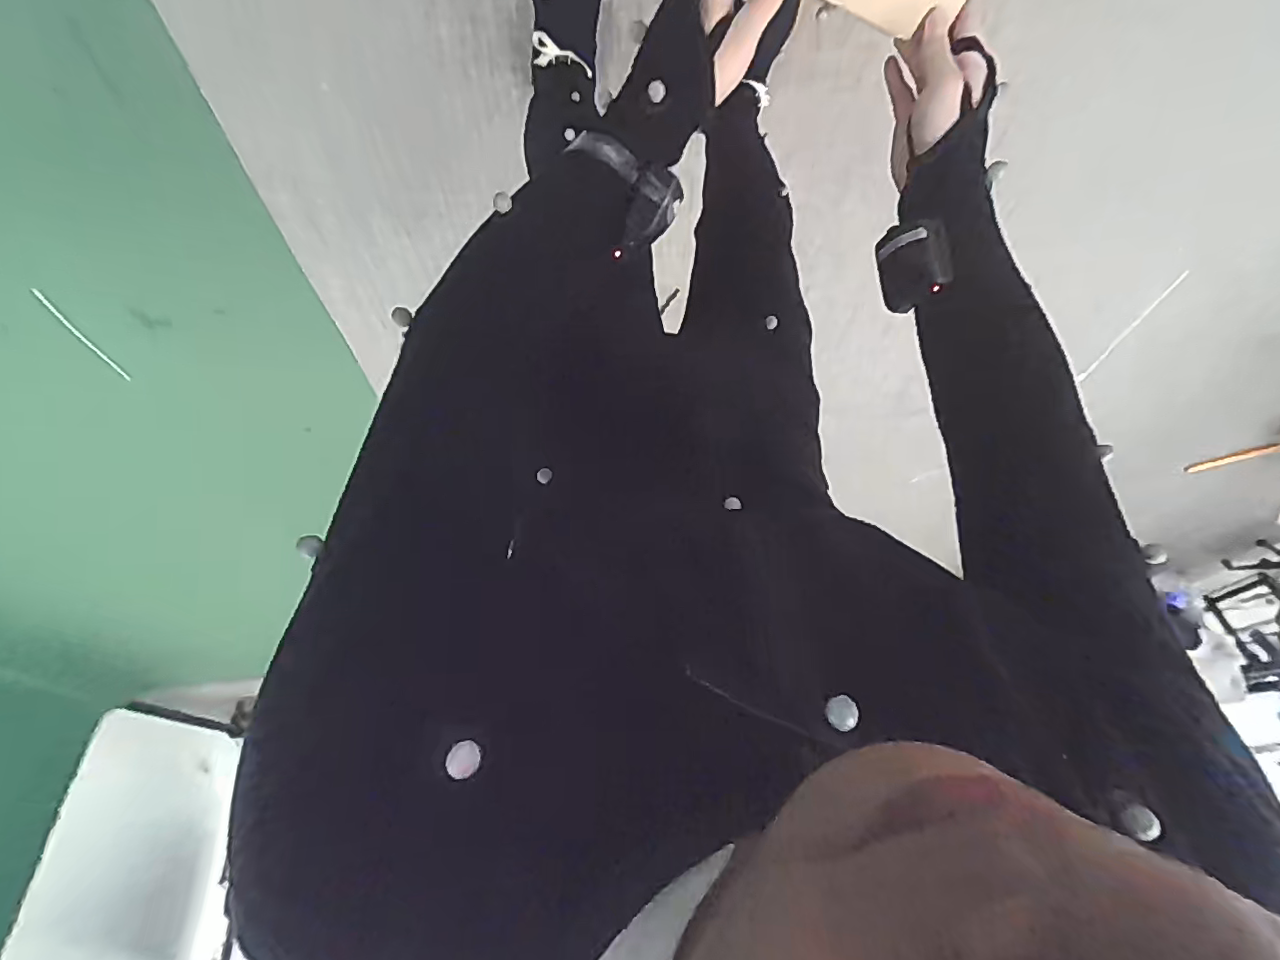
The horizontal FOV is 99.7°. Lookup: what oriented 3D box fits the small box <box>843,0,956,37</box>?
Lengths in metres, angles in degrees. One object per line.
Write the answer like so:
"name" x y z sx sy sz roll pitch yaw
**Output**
"small box" 0.184 -0.496 0.425 0.179 0.176 0.168 7 138 -21
